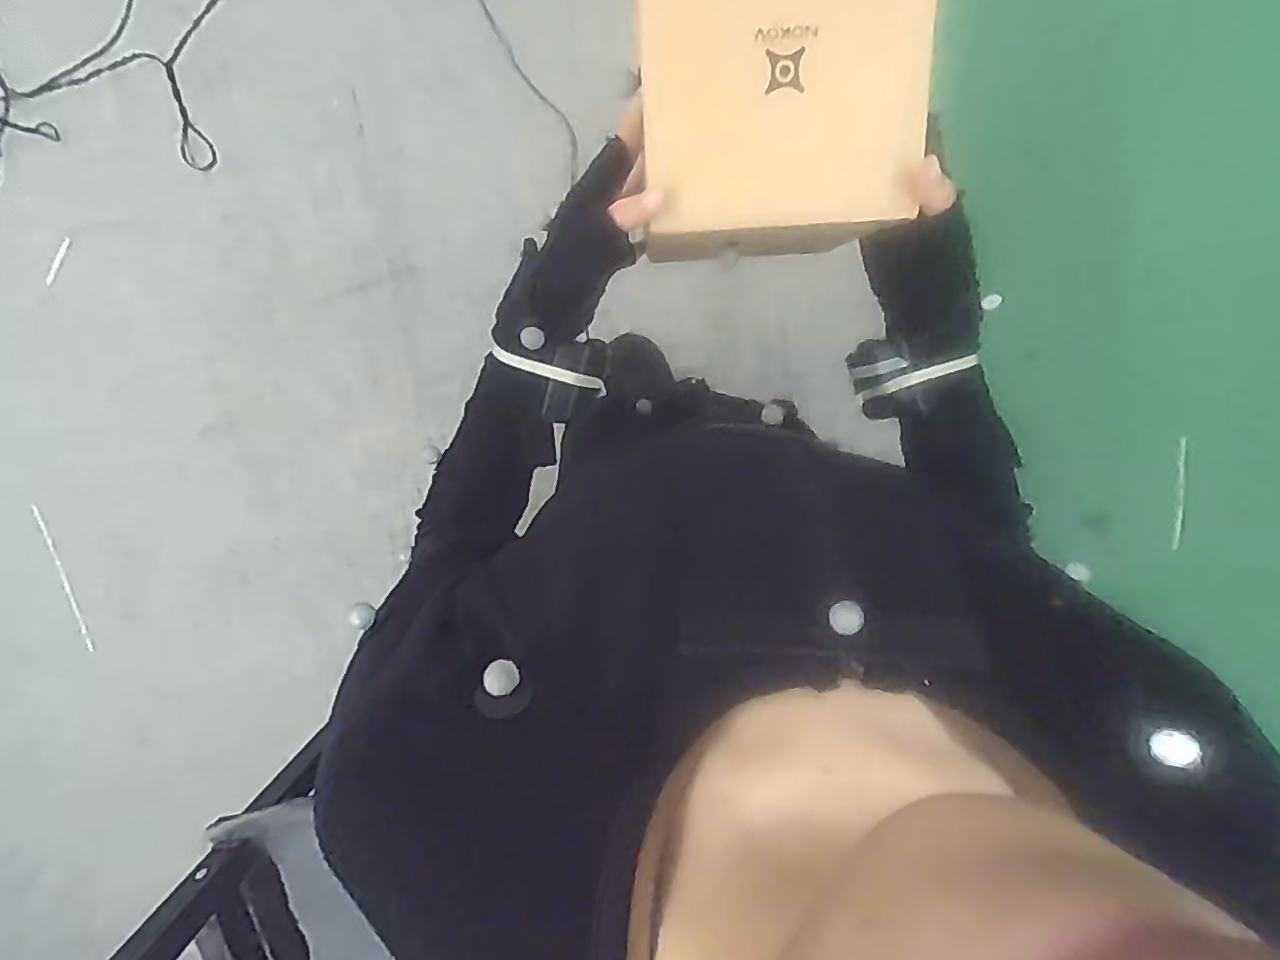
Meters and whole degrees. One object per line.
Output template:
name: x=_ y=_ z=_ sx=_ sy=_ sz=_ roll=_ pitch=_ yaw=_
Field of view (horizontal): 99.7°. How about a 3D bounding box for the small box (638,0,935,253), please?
small box: x=0.084 y=-0.265 z=0.383 sx=0.168 sy=0.176 sz=0.179 roll=-3 pitch=104 yaw=2
